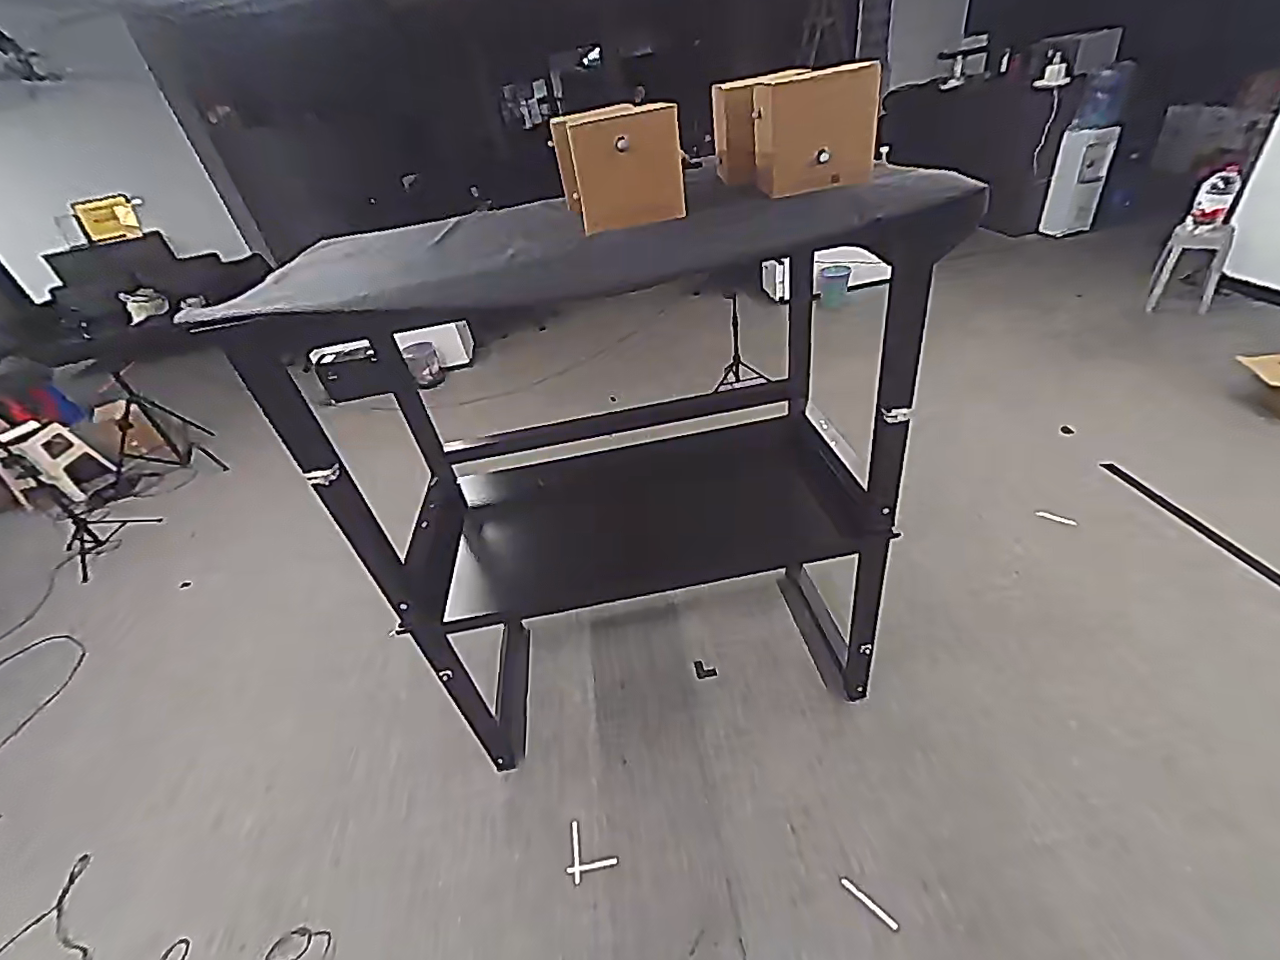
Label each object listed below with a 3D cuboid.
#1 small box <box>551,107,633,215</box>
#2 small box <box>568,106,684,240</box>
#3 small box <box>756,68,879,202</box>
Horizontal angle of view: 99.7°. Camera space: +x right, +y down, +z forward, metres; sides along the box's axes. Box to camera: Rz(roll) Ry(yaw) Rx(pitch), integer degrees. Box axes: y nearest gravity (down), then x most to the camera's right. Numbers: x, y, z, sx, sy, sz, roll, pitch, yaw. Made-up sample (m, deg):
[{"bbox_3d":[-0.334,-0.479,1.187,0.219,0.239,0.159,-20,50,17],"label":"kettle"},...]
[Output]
[{"bbox_3d":[-0.088,-0.678,1.152,0.168,0.176,0.179,-12,36,0],"label":"small box"},{"bbox_3d":[-0.022,-0.539,0.951,0.179,0.176,0.168,-12,36,0],"label":"small box"},{"bbox_3d":[0.297,-0.598,0.943,0.168,0.176,0.179,-7,36,6],"label":"small box"}]
